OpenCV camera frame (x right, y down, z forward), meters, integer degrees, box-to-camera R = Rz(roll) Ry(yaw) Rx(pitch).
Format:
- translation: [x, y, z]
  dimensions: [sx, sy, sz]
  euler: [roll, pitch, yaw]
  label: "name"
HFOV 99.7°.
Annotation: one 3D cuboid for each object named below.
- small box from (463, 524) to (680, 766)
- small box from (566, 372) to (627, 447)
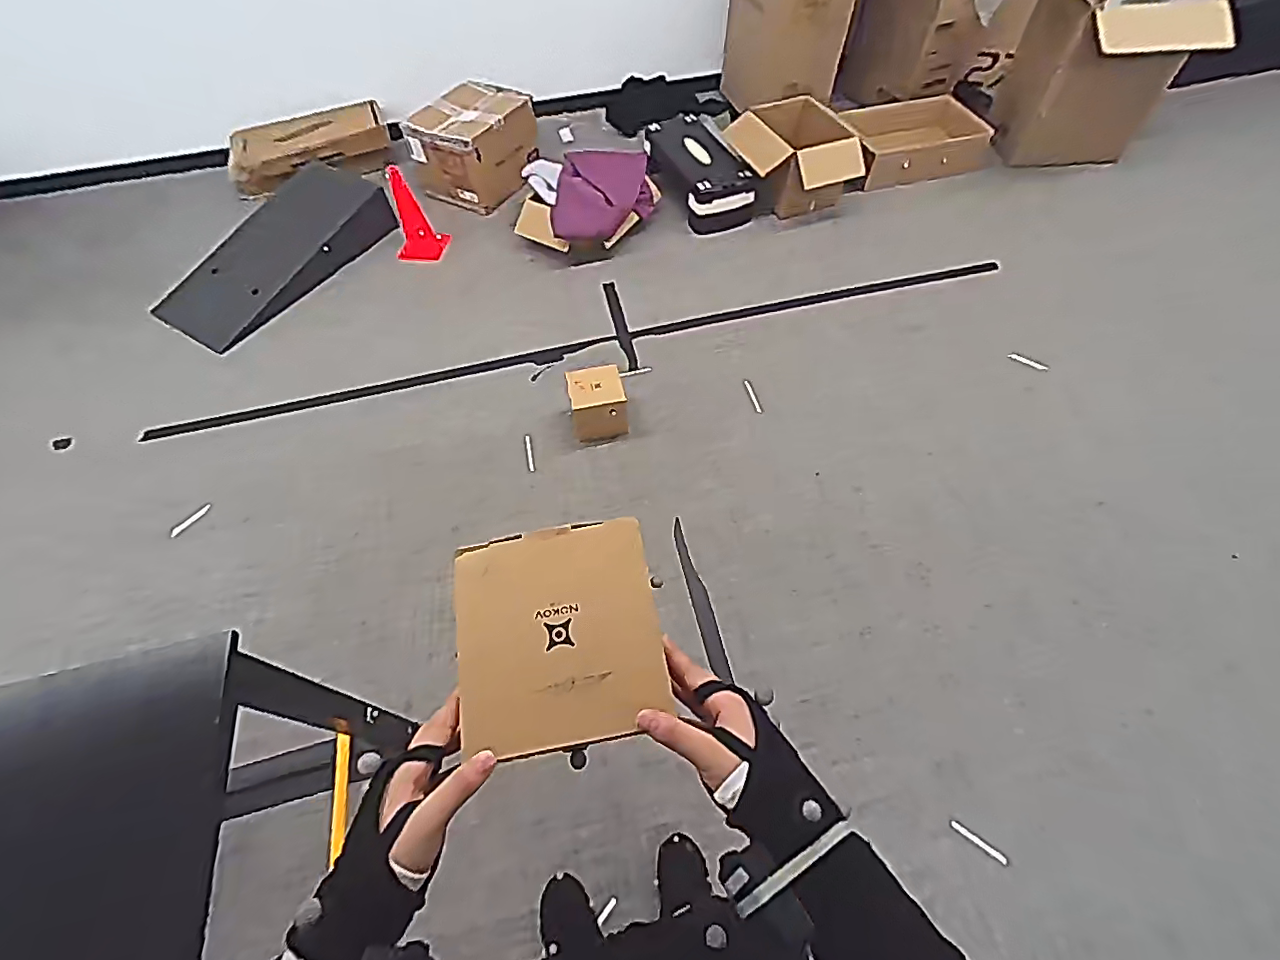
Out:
- translation: [-0.062, 0.163, 0.520]
  dimensions: [0.168, 0.176, 0.179]
  euler: [-10, 65, -4]
  label: "small box"
- translation: [-0.143, -0.235, 1.821]
  dimensions: [0.179, 0.176, 0.168]
  euler: [-12, 57, -5]
  label: "small box"
